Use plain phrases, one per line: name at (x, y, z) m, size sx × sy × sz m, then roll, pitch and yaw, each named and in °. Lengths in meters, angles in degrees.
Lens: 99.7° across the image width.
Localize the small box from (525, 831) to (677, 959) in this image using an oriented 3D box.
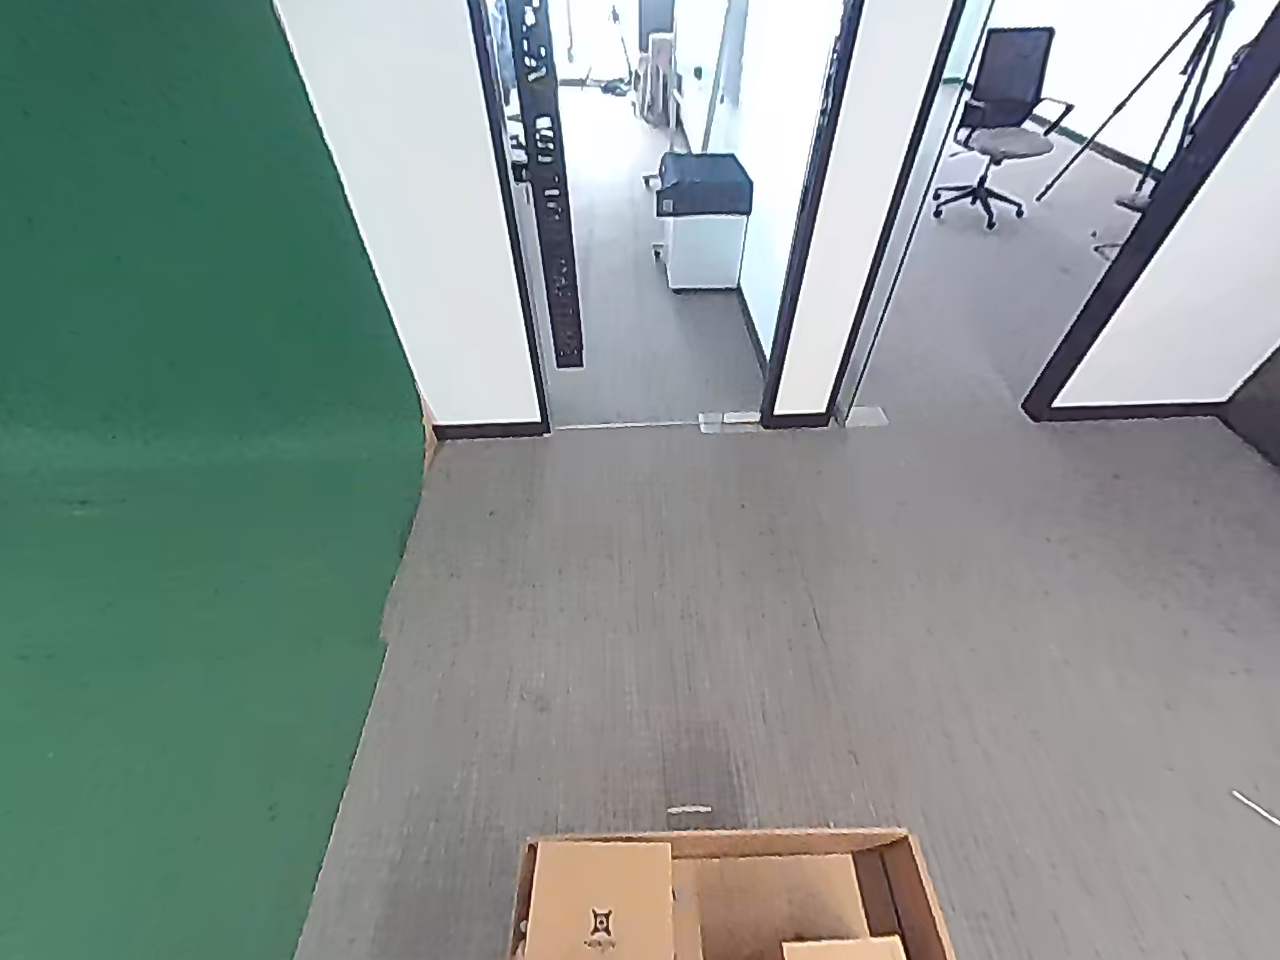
small box at (-0.043, 0.554, 0.657) m, size 0.168 × 0.176 × 0.179 m, roll 1°, pitch 43°, yaw 1°
